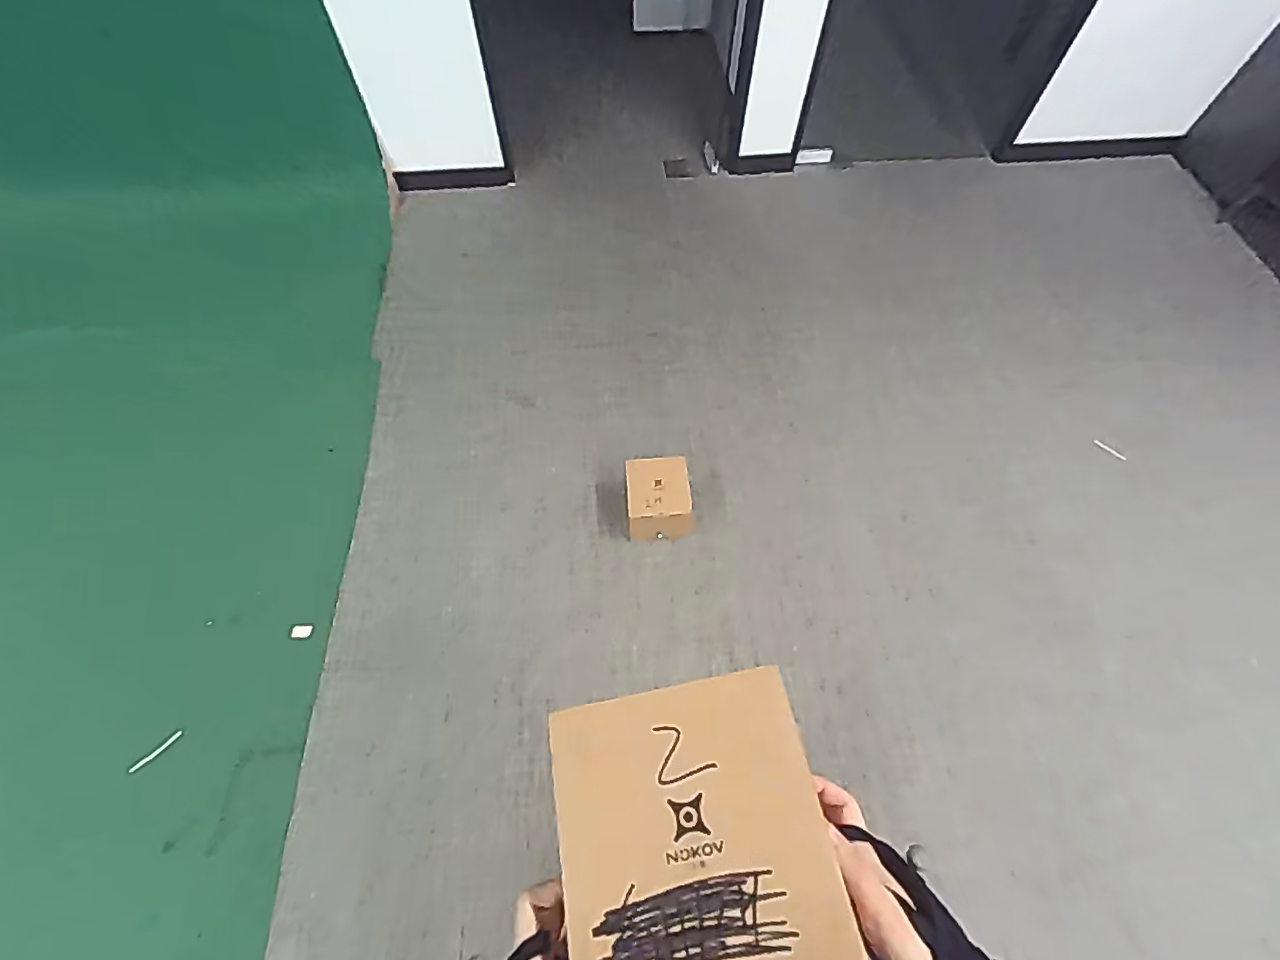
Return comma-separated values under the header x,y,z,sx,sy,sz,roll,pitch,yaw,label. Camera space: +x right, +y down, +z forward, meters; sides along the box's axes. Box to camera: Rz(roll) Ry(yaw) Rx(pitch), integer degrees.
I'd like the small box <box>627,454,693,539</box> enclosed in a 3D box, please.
x,y,z,sx,sy,sz,roll,pitch,yaw,label
0.049,0.047,1.482,0.168,0.176,0.179,-3,62,-1,small box
